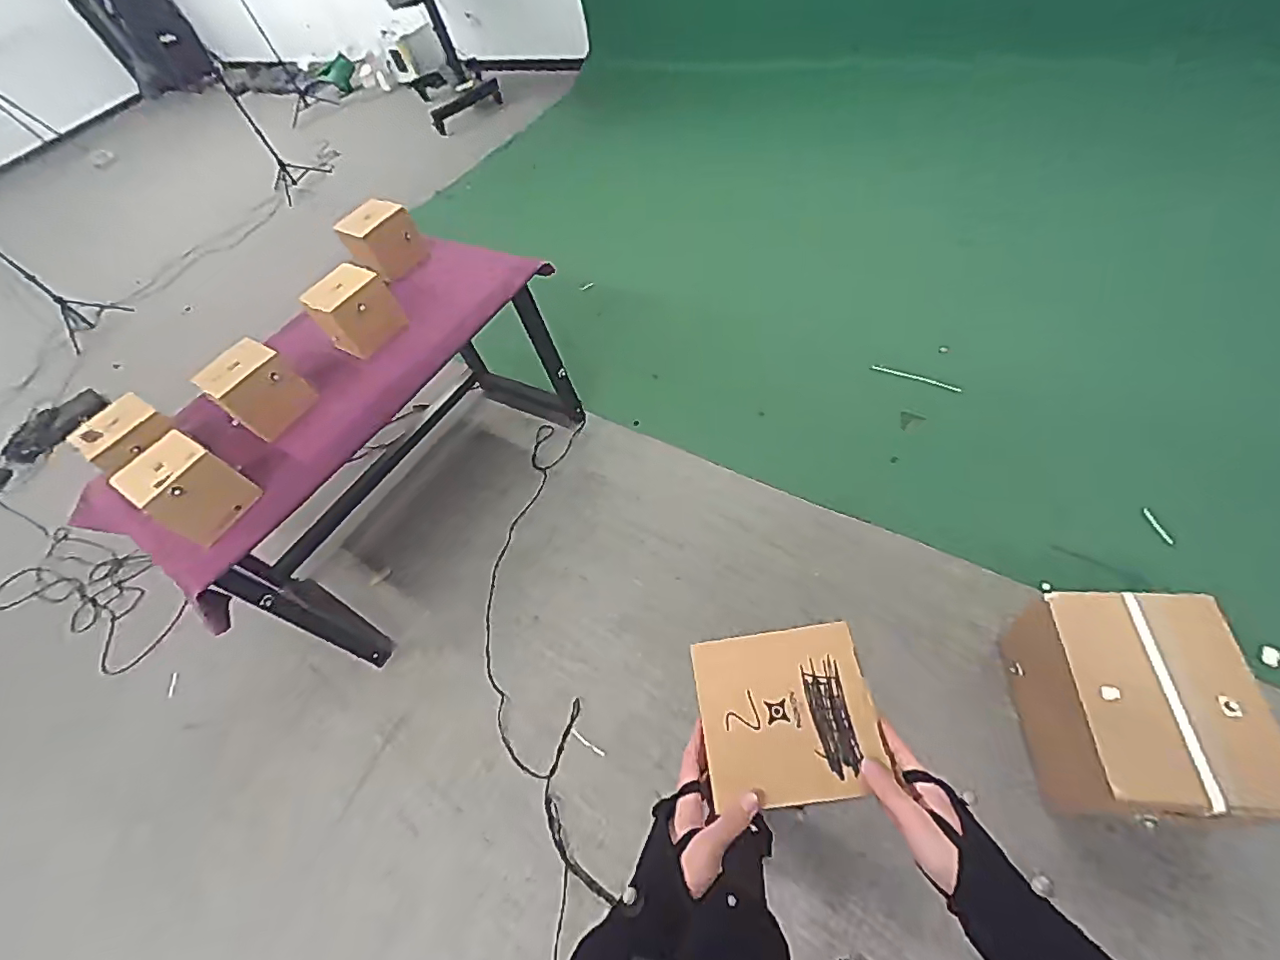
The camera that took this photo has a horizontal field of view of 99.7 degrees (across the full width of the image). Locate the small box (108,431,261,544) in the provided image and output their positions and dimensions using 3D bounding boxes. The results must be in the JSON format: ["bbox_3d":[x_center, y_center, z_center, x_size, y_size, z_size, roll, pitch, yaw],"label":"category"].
[{"bbox_3d":[-1.021,0.020,1.224,0.179,0.176,0.168,21,64,28],"label":"small box"}]

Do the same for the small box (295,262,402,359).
[{"bbox_3d":[-0.803,-0.473,1.516,0.168,0.176,0.179,25,66,27],"label":"small box"}]

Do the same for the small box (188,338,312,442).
[{"bbox_3d":[-0.988,-0.231,1.392,0.168,0.176,0.179,24,65,28],"label":"small box"}]

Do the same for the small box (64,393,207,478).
[{"bbox_3d":[-1.258,-0.083,1.358,0.168,0.176,0.179,24,64,27],"label":"small box"}]

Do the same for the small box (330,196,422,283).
[{"bbox_3d":[-0.827,-0.764,1.720,0.168,0.176,0.179,26,67,27],"label":"small box"}]
